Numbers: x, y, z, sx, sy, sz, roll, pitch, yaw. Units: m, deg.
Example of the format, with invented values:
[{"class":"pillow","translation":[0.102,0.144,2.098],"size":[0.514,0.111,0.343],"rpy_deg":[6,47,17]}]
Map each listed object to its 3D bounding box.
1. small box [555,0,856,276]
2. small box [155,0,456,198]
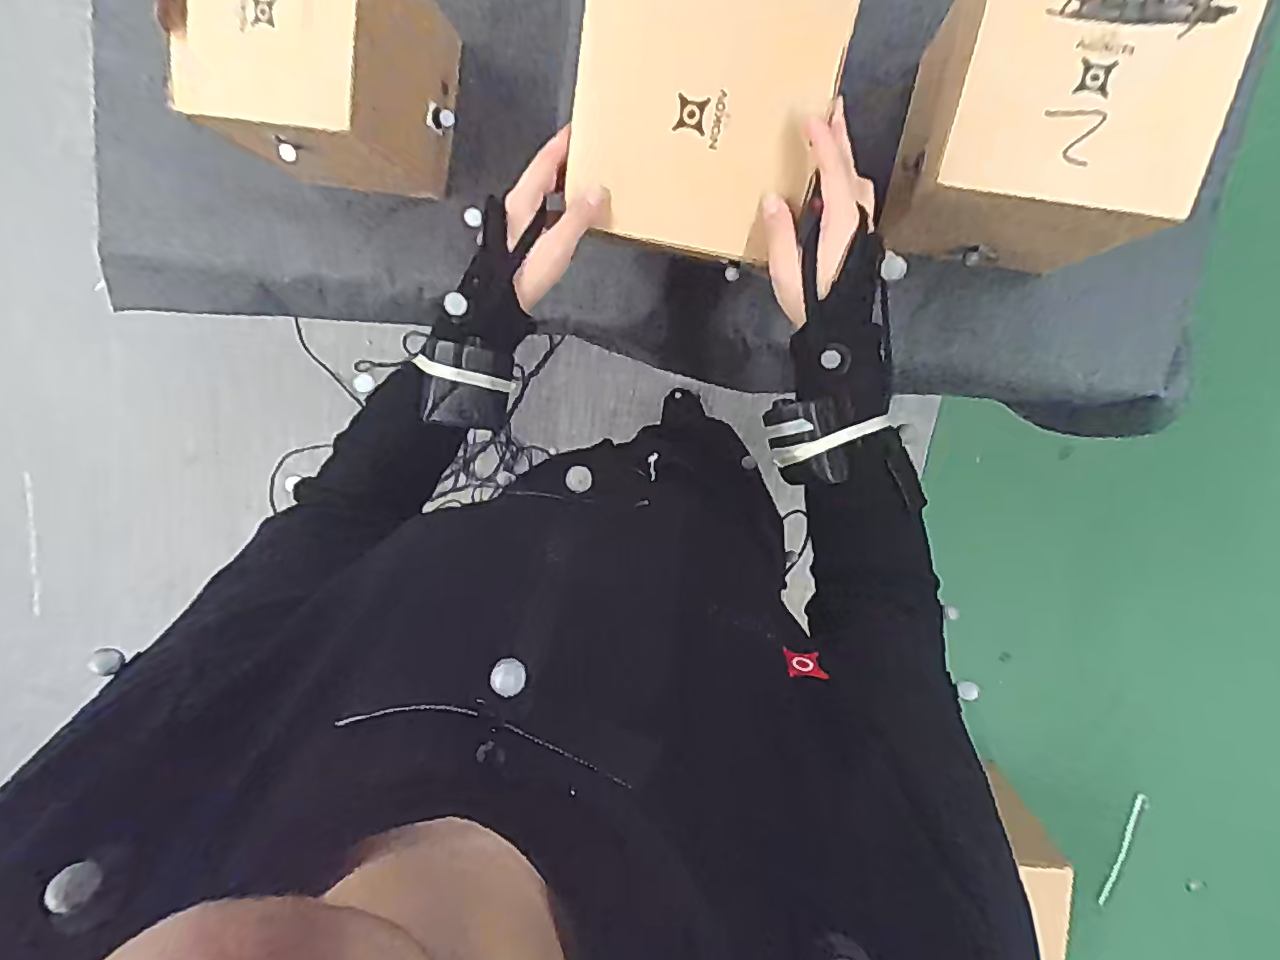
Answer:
[{"class":"small box","translation":[0.046,-0.269,0.443],"size":[0.179,0.176,0.168],"rpy_deg":[12,109,3]},{"class":"small box","translation":[-0.302,-0.388,0.513],"size":[0.179,0.176,0.168],"rpy_deg":[10,100,6]}]
